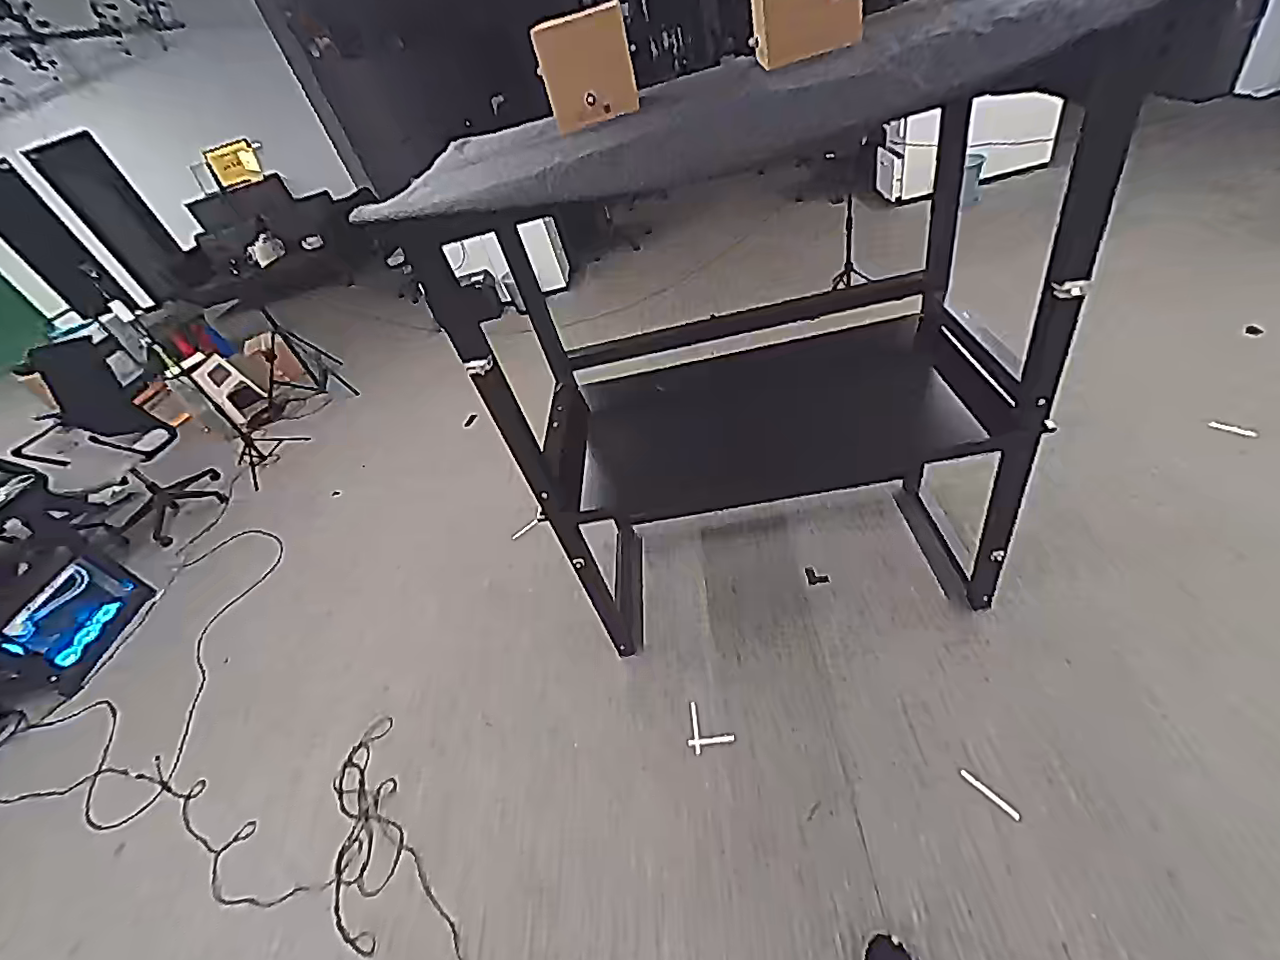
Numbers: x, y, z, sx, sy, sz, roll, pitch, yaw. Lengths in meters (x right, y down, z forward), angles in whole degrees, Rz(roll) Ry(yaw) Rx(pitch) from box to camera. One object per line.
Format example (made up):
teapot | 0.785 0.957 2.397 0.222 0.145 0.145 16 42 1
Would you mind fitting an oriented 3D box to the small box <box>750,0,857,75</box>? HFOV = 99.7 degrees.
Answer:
small box | 0.304 -0.897 1.020 0.179 0.176 0.168 -9 41 11
